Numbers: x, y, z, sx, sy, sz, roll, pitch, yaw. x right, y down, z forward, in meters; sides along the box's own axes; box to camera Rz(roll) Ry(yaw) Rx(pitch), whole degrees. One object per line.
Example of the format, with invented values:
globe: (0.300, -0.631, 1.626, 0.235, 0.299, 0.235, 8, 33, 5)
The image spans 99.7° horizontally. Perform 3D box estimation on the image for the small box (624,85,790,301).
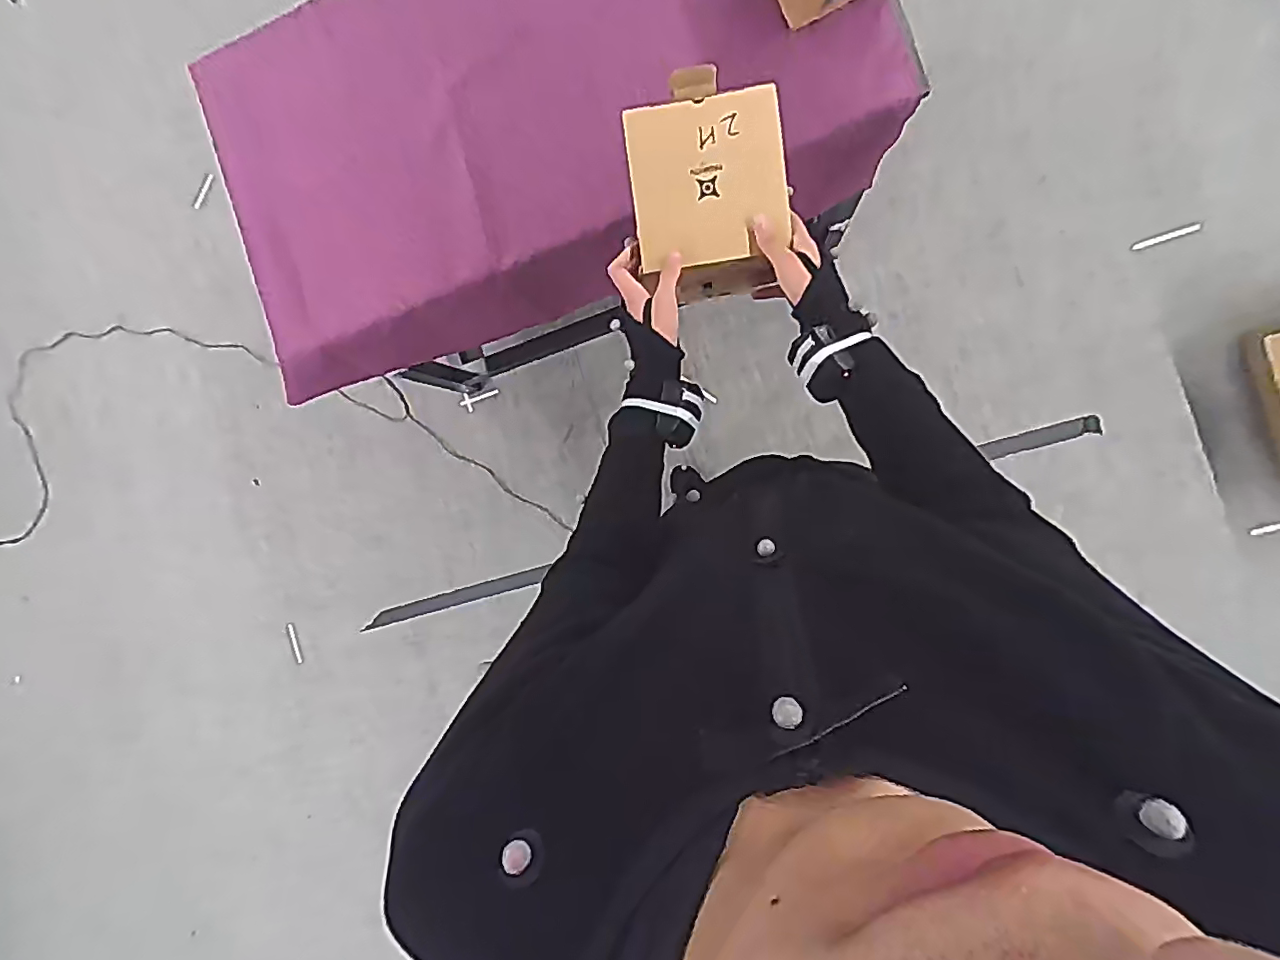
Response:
small box: (0.077, -0.326, 0.656, 0.168, 0.176, 0.179, -7, 93, 3)

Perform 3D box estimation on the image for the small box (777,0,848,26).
small box: (0.263, -0.815, 0.764, 0.168, 0.176, 0.179, -22, 88, 11)
